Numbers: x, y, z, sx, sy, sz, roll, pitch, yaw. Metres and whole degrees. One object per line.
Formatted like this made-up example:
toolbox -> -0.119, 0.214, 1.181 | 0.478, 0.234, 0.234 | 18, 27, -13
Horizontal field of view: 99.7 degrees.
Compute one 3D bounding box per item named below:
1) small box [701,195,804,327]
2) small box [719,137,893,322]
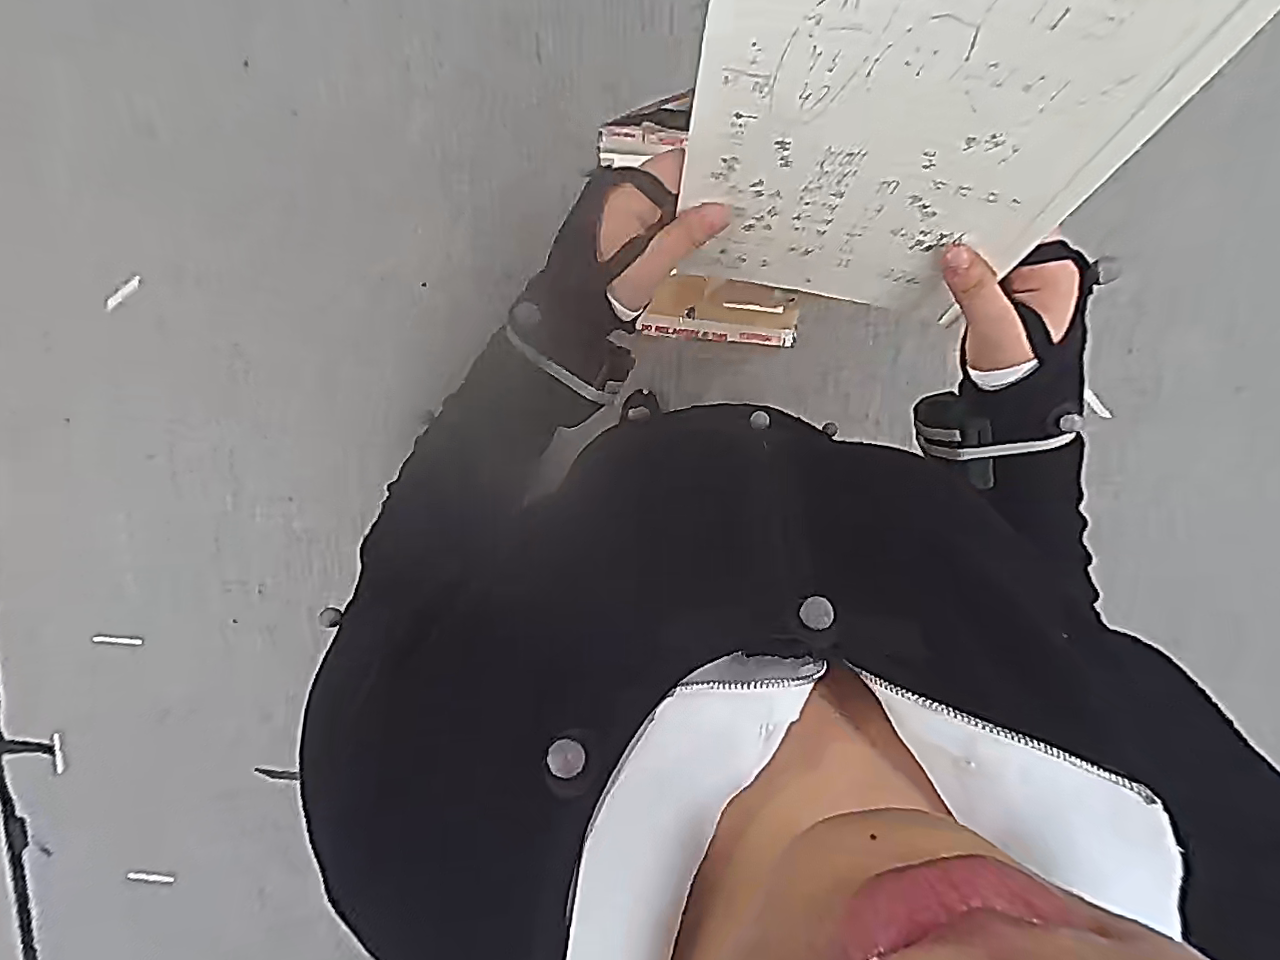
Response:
small box -> 0.200, -0.343, 0.876 | 0.179, 0.176, 0.168 | 2, 100, 0
small box -> 0.203, -0.315, 0.713 | 0.168, 0.176, 0.179 | 5, 101, -1
